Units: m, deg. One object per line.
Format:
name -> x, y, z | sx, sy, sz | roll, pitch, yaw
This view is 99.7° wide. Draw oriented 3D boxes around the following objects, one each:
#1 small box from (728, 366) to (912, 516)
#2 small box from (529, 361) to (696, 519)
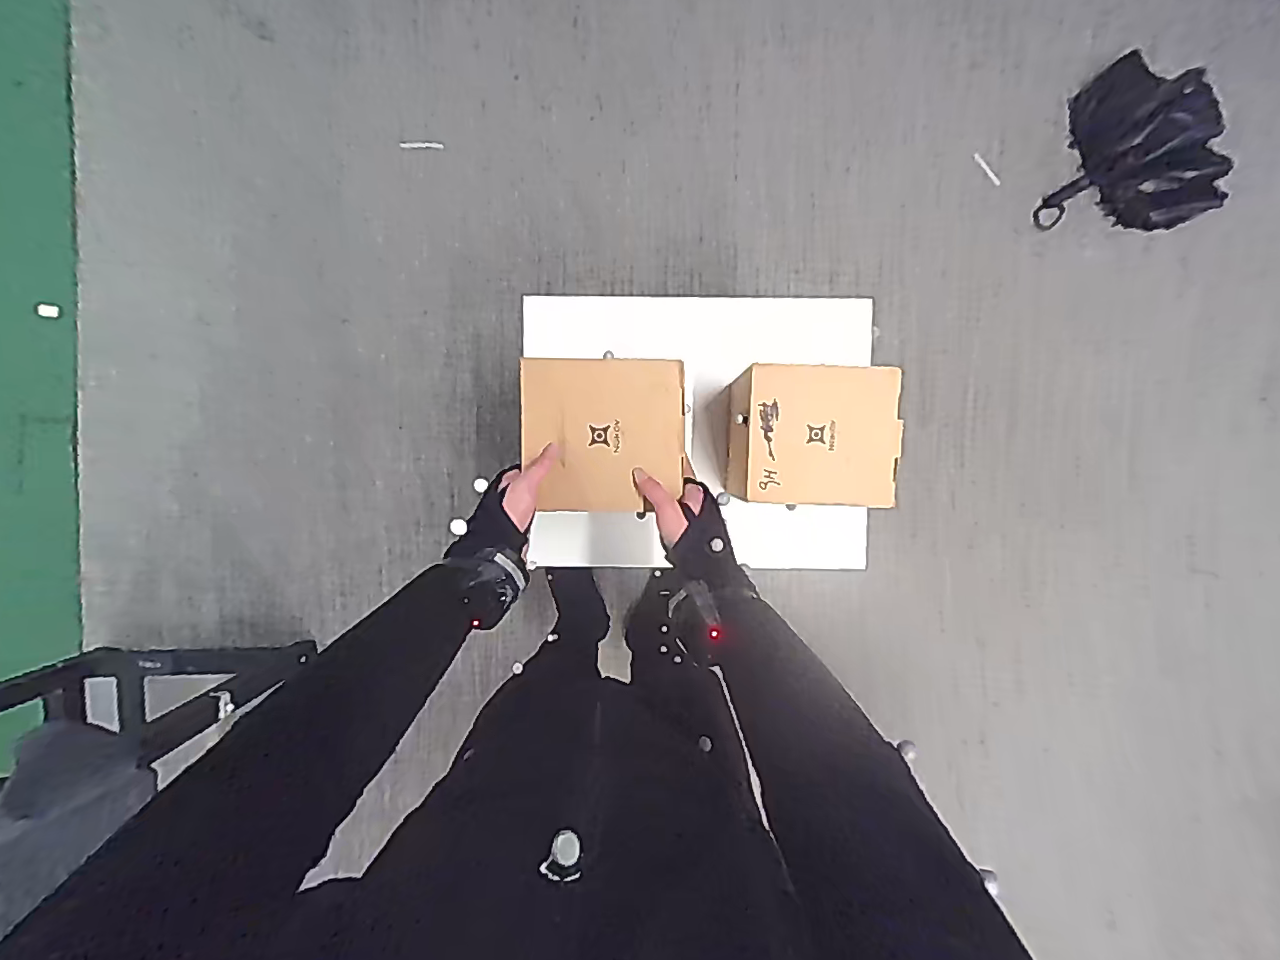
small box -> 0.220, -0.048, 0.702 | 0.179, 0.176, 0.168 | 3, 92, -1
small box -> -0.031, -0.045, 0.643 | 0.179, 0.176, 0.168 | 0, 92, -1
